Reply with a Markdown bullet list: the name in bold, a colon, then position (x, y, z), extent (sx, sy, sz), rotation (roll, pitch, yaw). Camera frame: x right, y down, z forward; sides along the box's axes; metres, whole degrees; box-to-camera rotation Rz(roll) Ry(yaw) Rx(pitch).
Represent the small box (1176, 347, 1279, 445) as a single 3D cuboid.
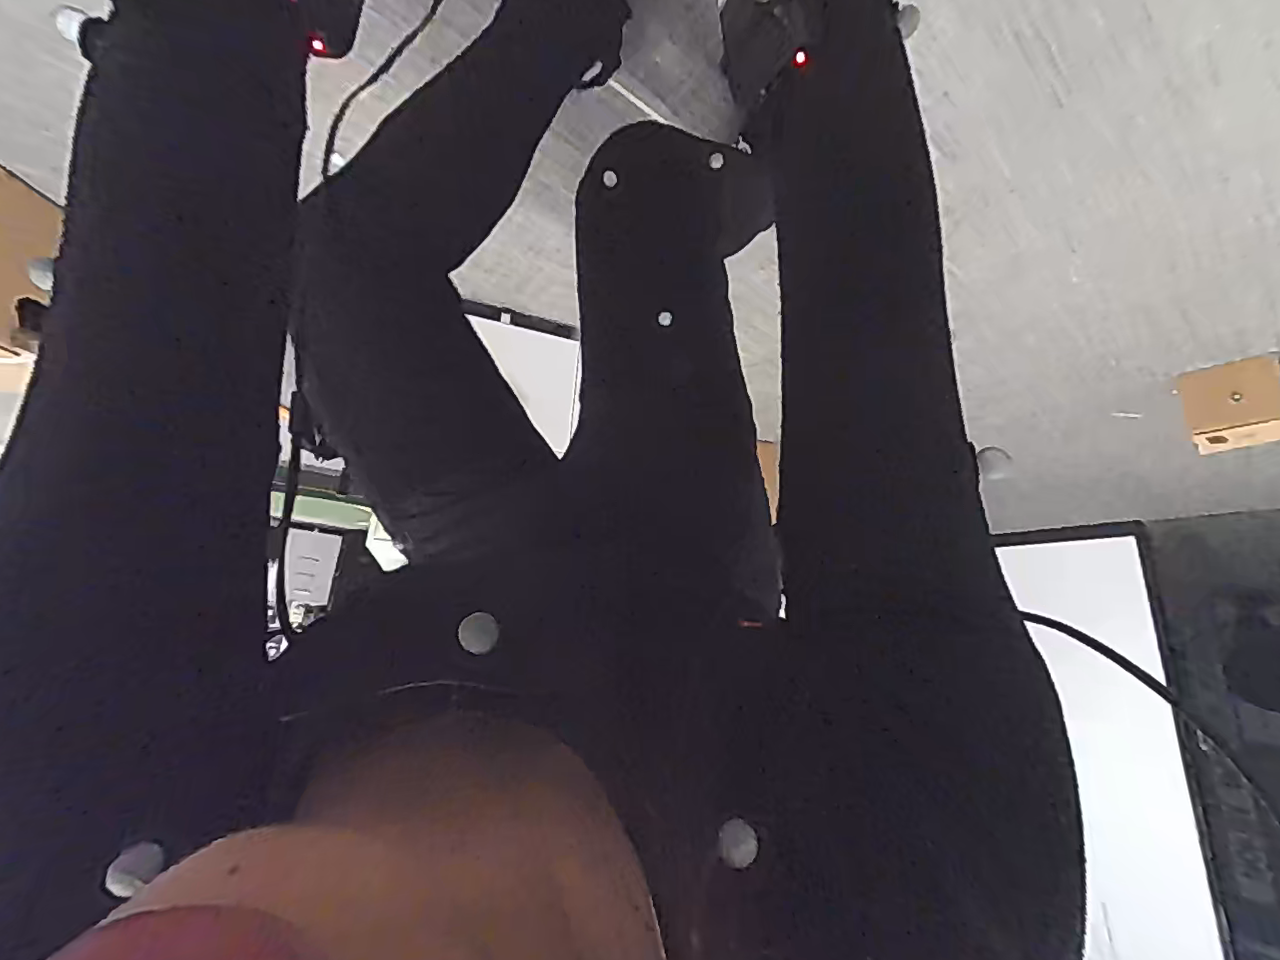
- **small box**: position (1.496, -0.208, 1.367), extent (0.168, 0.176, 0.179), rotation (17, 159, -37)
